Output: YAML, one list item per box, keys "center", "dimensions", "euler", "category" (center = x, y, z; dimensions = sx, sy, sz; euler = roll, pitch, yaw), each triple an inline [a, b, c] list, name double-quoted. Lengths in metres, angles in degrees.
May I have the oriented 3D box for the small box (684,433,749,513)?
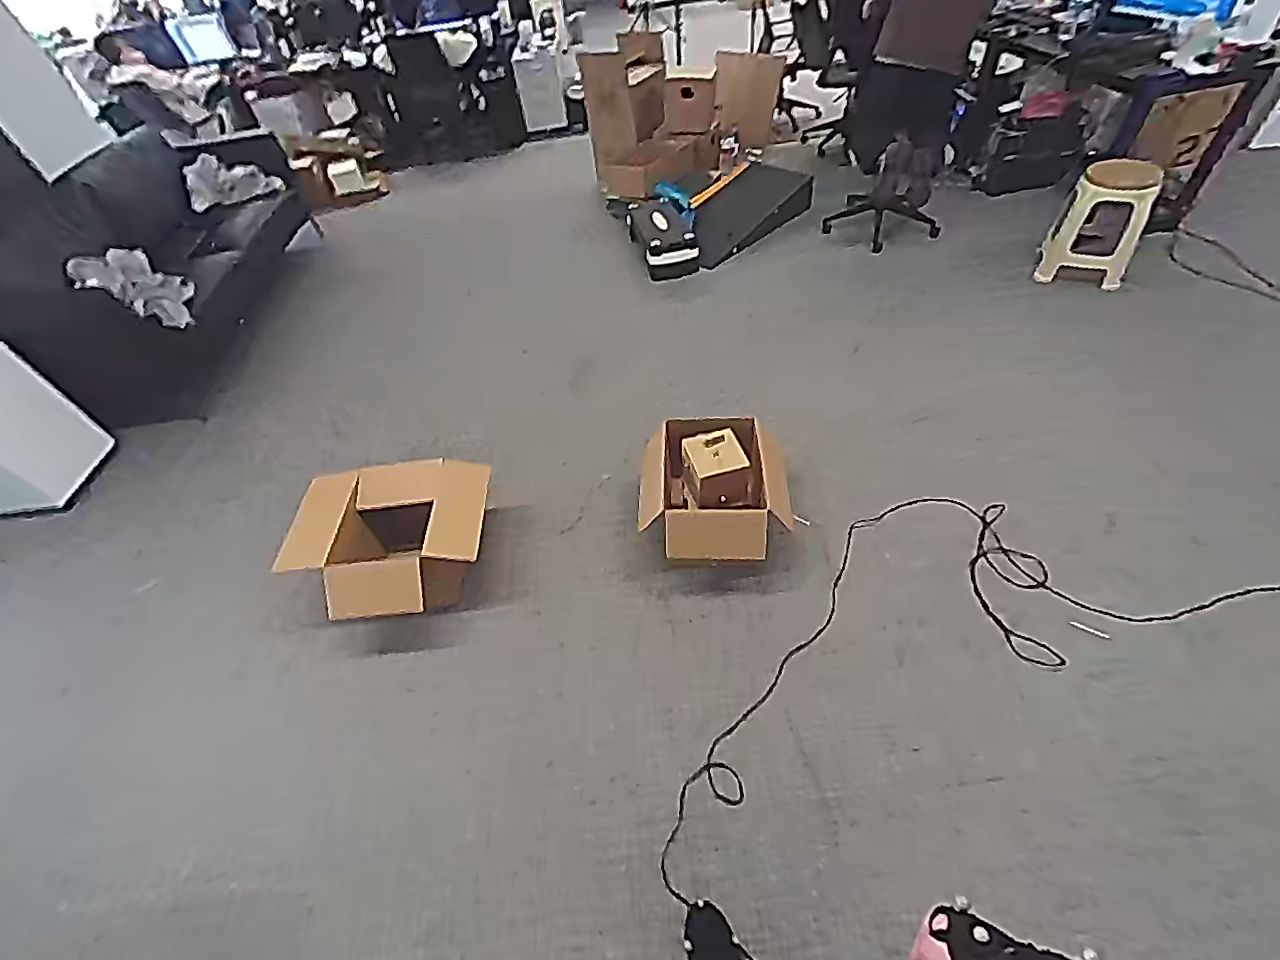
- center: [0.241, -0.021, 1.731]
  dimensions: [0.168, 0.176, 0.179]
  euler: [-13, 47, -3]
  category: "small box"
